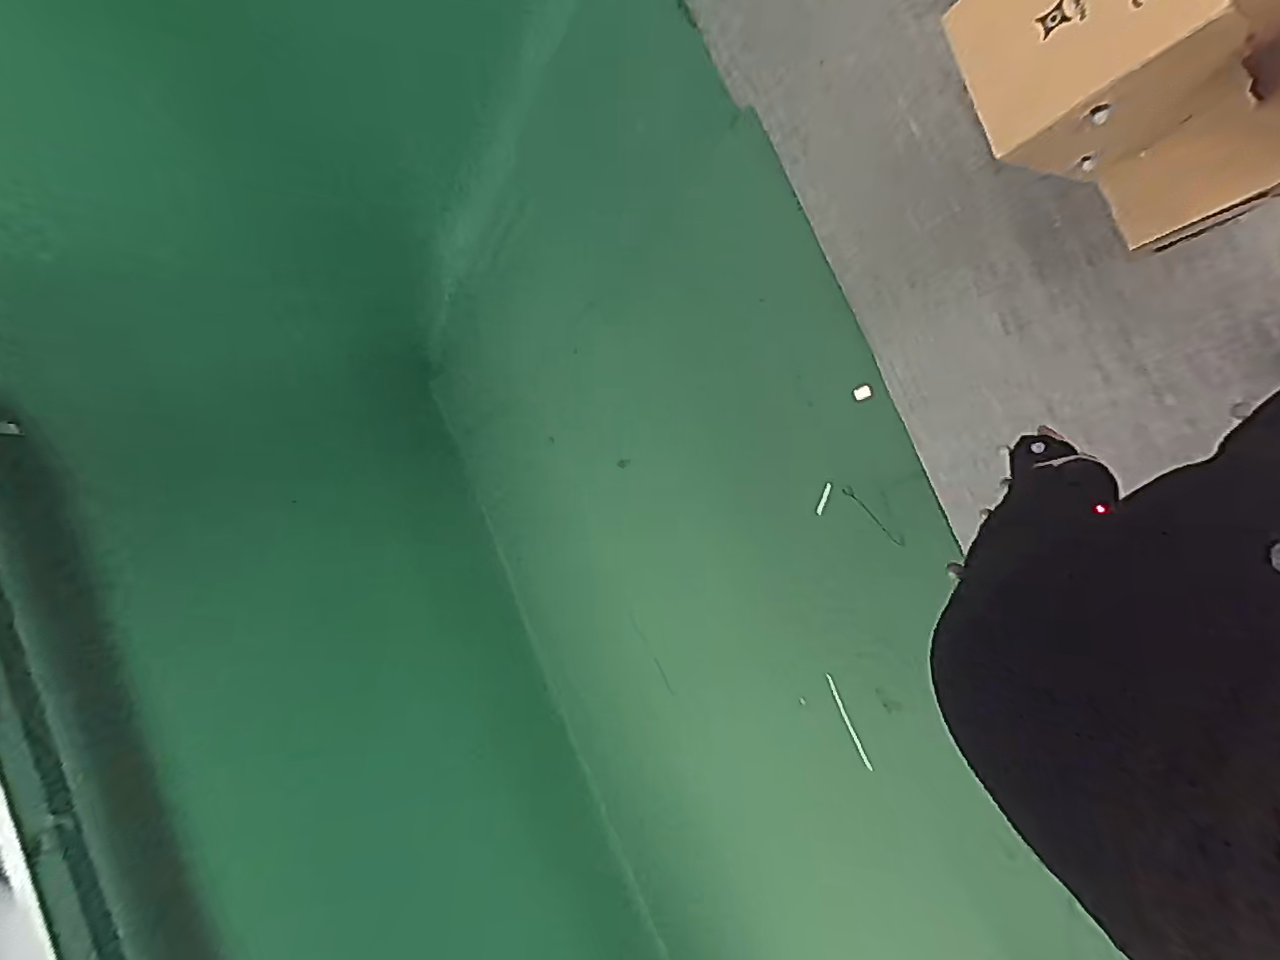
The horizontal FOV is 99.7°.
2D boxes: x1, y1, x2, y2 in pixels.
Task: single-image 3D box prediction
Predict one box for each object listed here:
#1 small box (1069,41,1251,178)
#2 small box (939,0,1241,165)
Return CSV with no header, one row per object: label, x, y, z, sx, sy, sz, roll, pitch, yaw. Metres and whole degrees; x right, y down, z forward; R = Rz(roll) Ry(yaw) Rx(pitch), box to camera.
small box,0.696,-0.550,0.746,0.168,0.176,0.179,-19,89,54
small box,0.450,-0.452,0.548,0.179,0.176,0.168,-23,87,54
